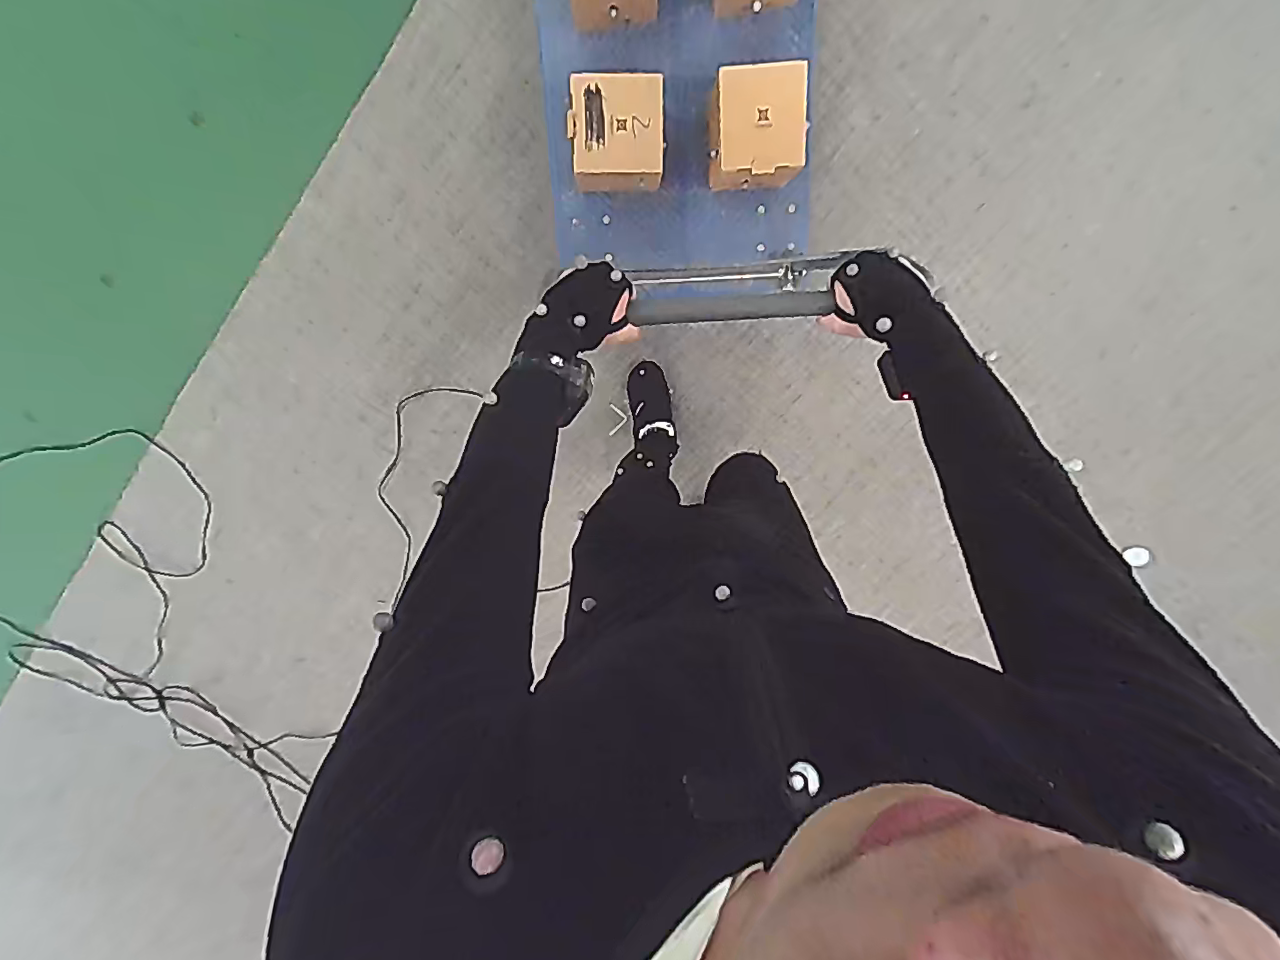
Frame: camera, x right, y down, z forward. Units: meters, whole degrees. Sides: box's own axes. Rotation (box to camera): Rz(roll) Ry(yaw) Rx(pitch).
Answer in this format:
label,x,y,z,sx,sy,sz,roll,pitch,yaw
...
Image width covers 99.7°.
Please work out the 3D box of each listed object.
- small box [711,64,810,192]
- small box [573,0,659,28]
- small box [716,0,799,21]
label,x,y,z,sx,sy,sz,roll,pitch,yaw
small box,0.237,-0.704,1.098,0.168,0.176,0.179,-4,108,1
small box,-0.052,-0.981,1.006,0.168,0.176,0.179,-7,108,1
small box,0.227,-1.005,1.001,0.168,0.176,0.179,-7,108,3
